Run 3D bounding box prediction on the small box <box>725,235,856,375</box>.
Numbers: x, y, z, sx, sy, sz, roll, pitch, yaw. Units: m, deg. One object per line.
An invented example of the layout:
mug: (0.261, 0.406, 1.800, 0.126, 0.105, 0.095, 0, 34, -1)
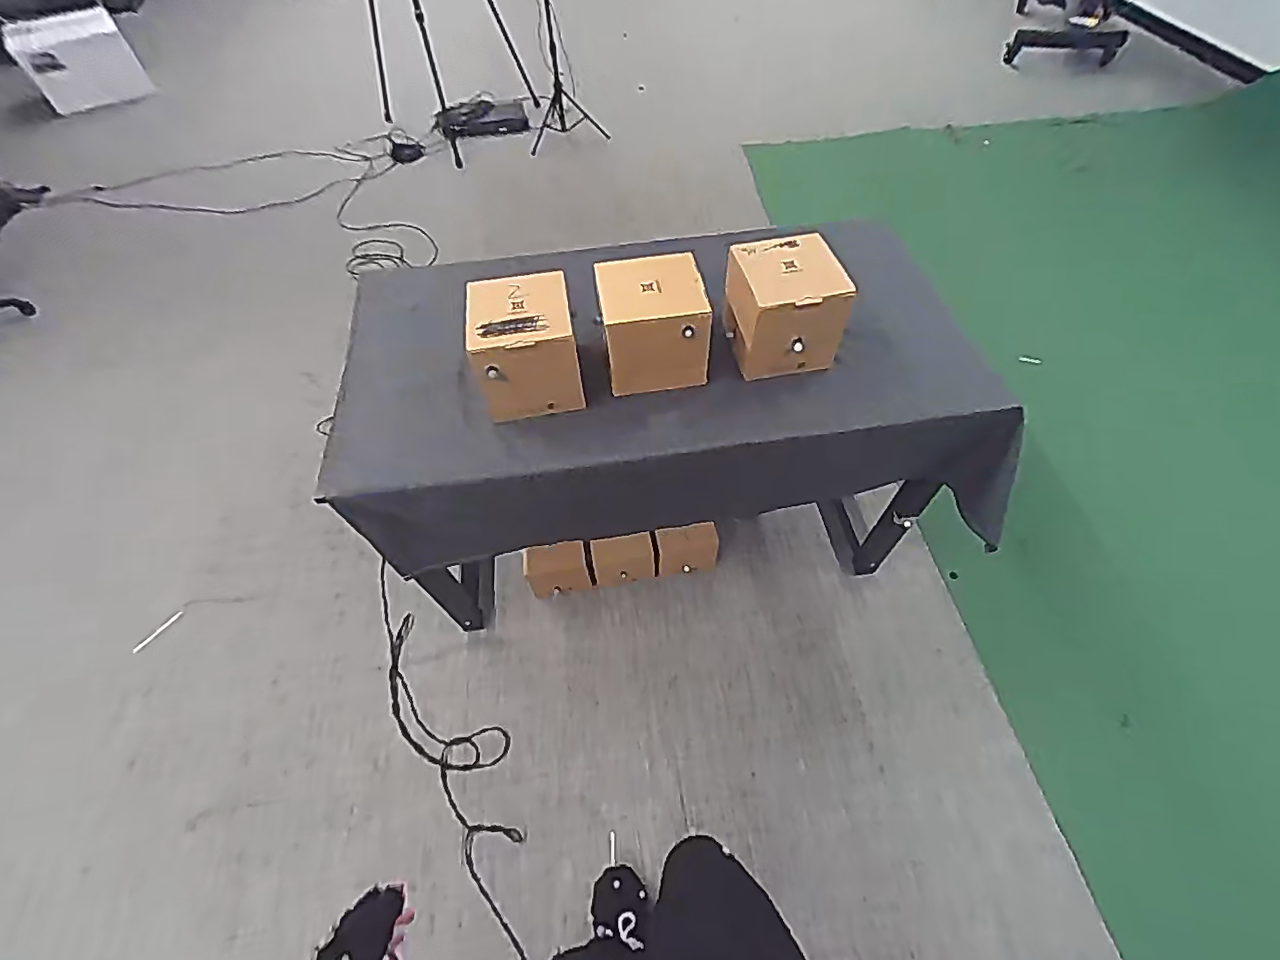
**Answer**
small box: (0.259, -0.307, 0.975, 0.168, 0.176, 0.179, -9, 57, -5)
